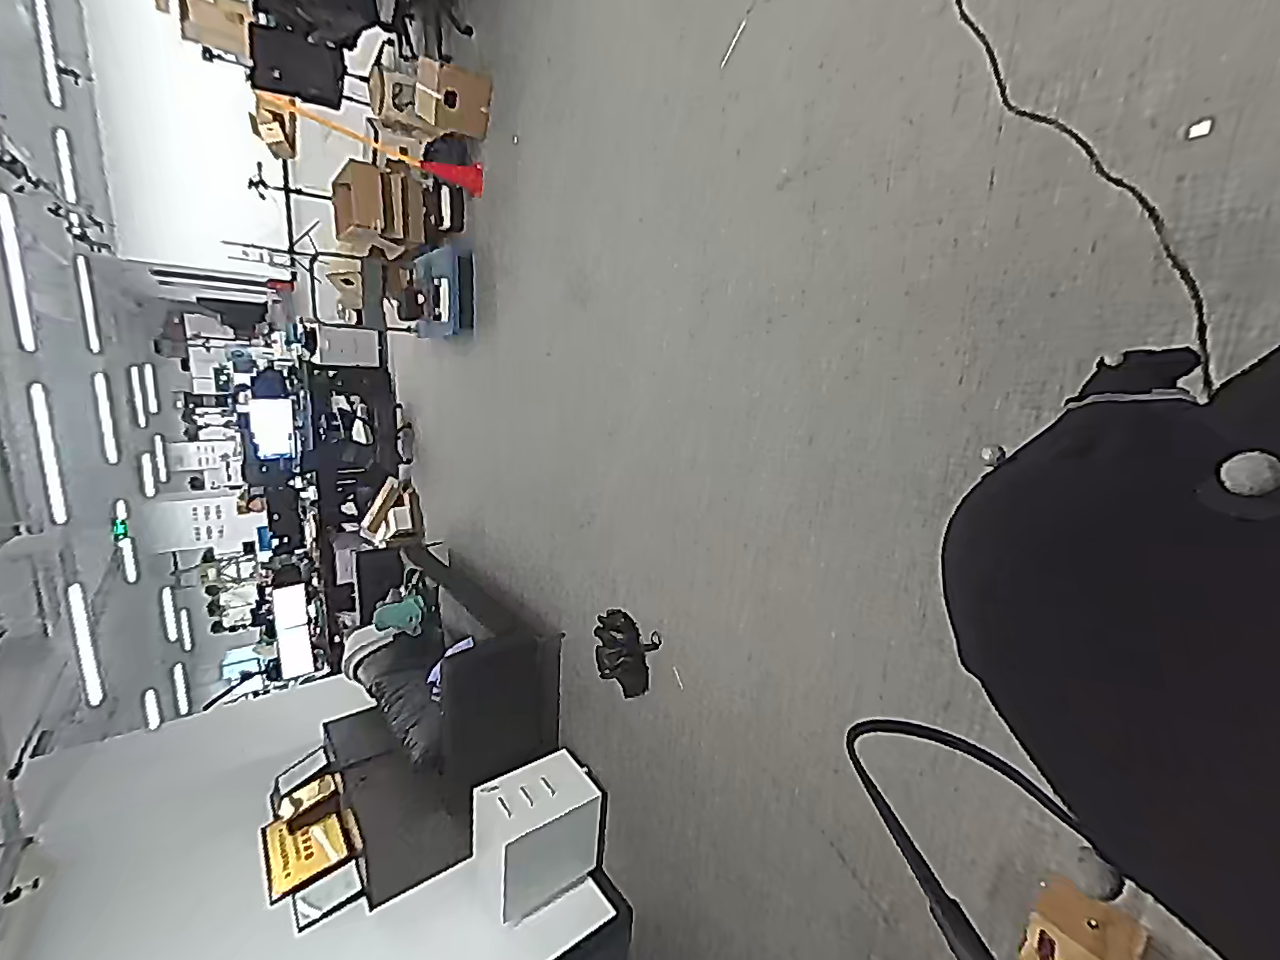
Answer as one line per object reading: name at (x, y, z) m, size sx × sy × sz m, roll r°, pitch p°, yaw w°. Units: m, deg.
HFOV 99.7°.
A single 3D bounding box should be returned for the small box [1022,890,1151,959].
small box at (0.983, 1.063, 1.198) m, size 0.179 × 0.176 × 0.168 m, roll 19°, pitch 110°, yaw 49°
